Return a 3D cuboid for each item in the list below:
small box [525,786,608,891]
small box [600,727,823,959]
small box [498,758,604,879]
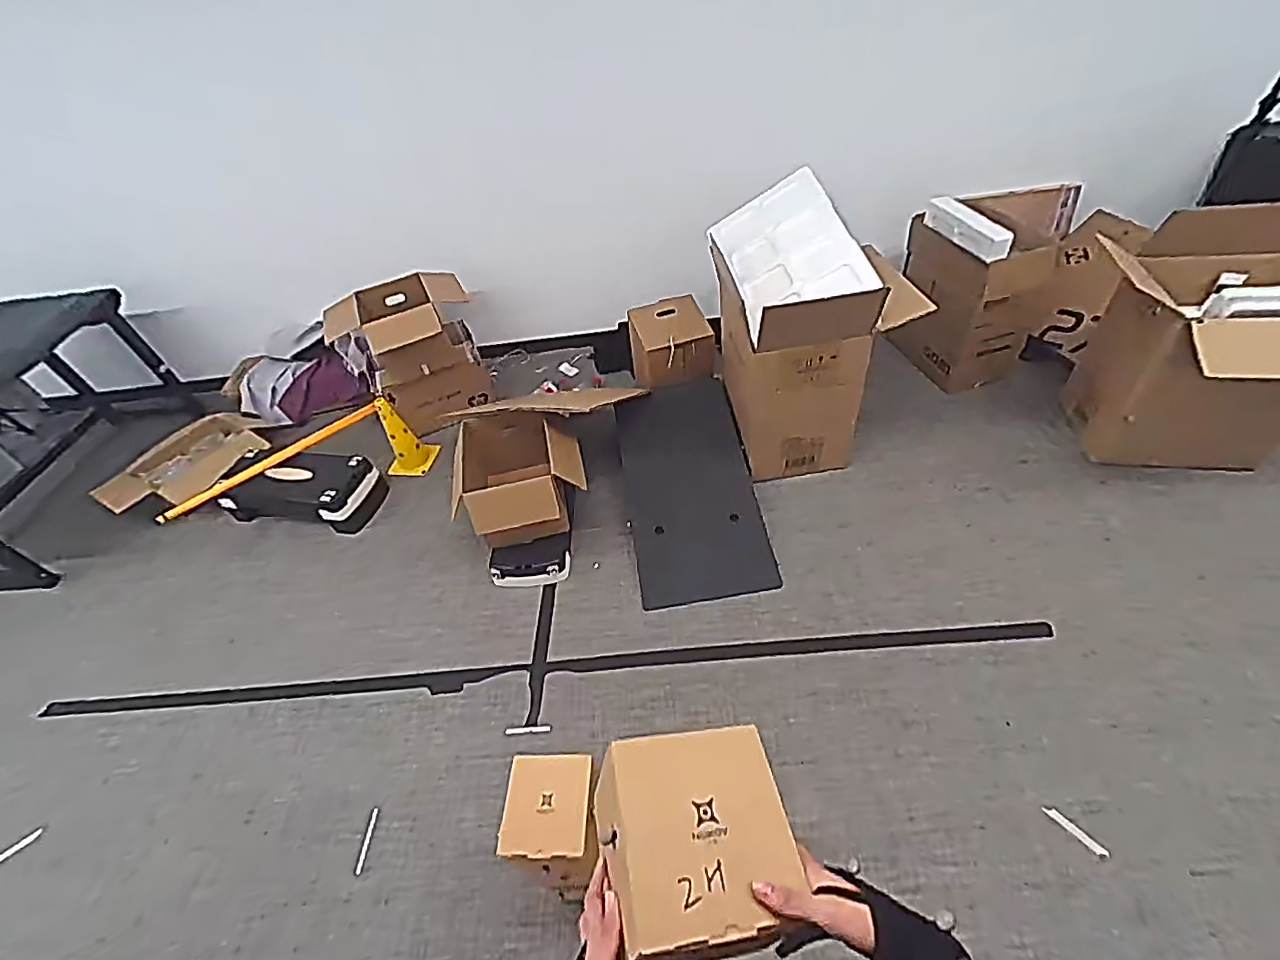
[{"bbox_3d":[-0.139,0.799,1.201,0.179,0.176,0.168,-5,45,4],"label":"small box"},{"bbox_3d":[0.054,0.387,0.563,0.168,0.176,0.179,0,42,-13],"label":"small box"},{"bbox_3d":[-0.169,0.682,1.091,0.168,0.176,0.179,-3,46,5],"label":"small box"}]
